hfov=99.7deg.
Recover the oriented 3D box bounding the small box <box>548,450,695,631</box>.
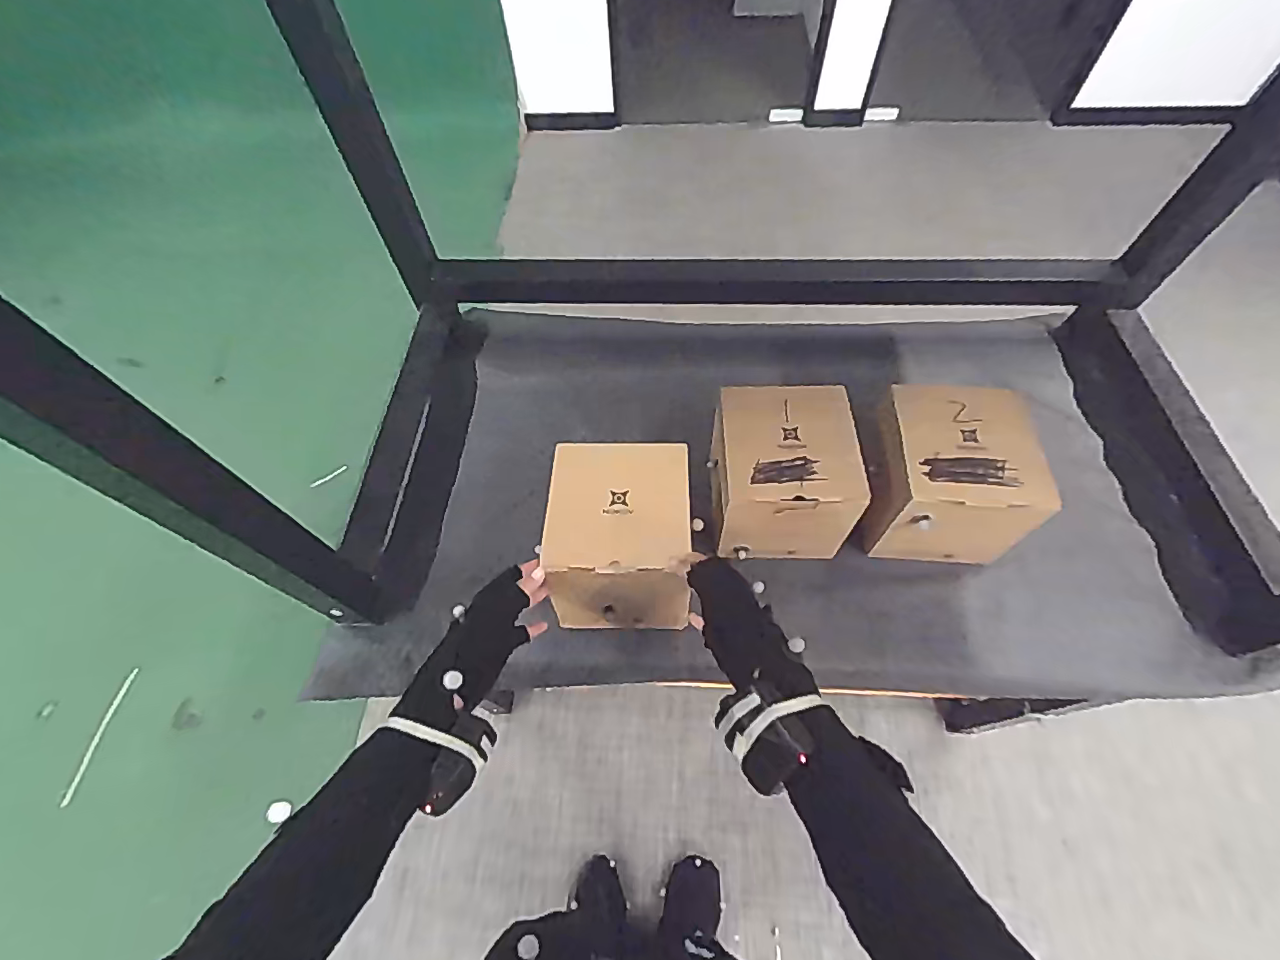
[{"bbox_3d":[-0.018,0.080,0.705,0.168,0.176,0.179,0,54,1],"label":"small box"}]
